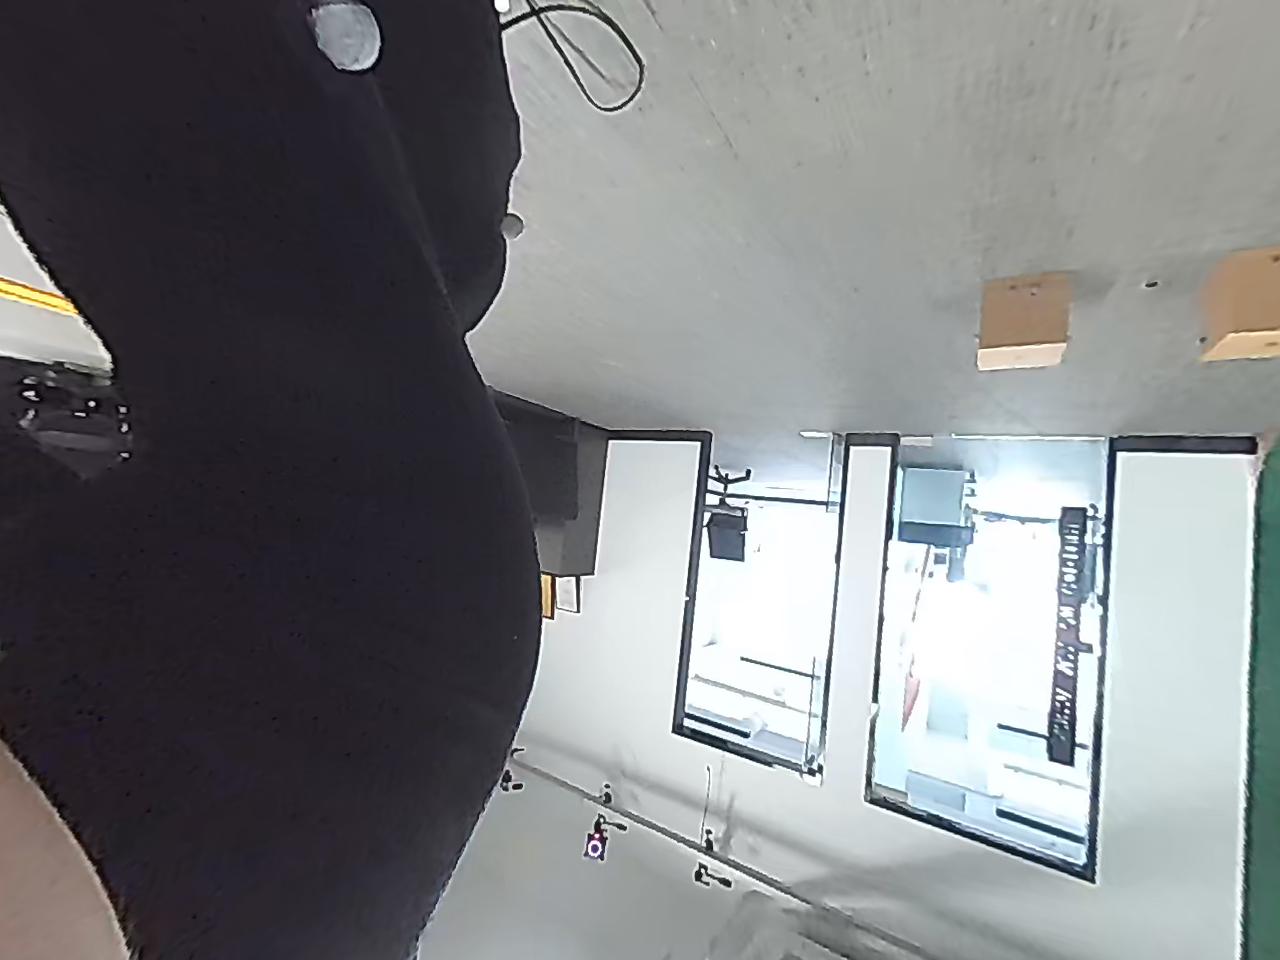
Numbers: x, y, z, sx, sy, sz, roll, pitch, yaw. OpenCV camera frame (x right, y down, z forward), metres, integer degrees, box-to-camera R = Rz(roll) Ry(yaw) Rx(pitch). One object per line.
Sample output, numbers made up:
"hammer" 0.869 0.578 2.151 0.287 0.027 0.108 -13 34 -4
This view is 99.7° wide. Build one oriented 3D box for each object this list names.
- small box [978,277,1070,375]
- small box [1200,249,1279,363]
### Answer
"small box" 0.899 -0.357 1.274 0.168 0.176 0.179 2 174 33
"small box" 1.234 -0.342 1.056 0.168 0.176 0.179 2 175 33
